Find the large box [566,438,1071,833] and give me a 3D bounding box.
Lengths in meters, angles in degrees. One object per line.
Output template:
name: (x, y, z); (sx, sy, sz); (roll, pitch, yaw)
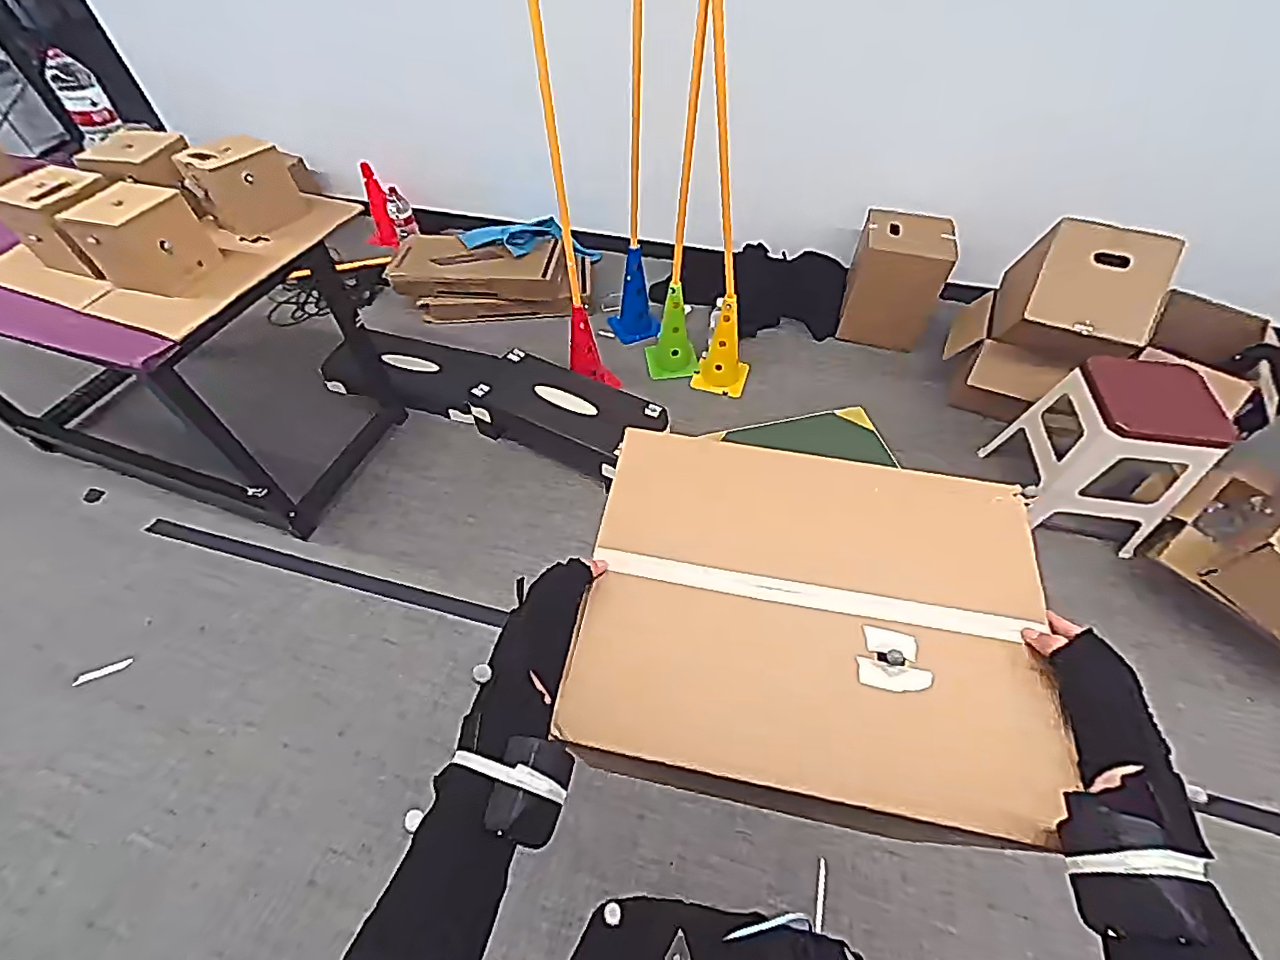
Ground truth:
large box: (0.157, 0.187, 0.627); (0.408, 0.320, 0.320); (9, 60, 6)
